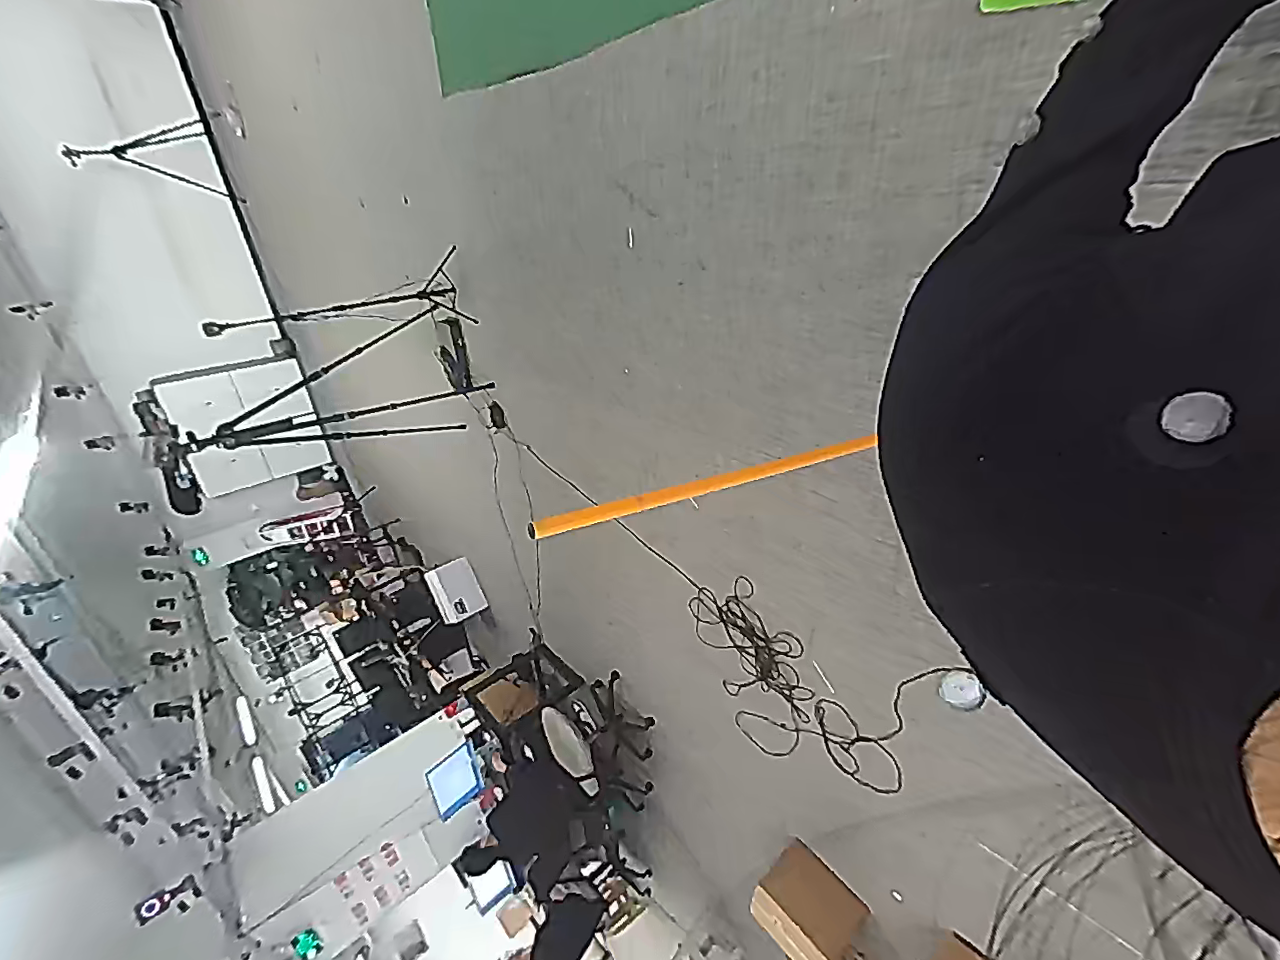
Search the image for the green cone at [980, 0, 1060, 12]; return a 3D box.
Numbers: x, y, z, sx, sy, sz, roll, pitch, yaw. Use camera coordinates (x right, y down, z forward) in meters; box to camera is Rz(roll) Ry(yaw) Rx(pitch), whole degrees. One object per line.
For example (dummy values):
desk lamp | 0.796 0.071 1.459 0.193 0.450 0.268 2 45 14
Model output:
green cone | 0.632 -0.953 0.906 0.202 0.368 0.200 31 132 40
